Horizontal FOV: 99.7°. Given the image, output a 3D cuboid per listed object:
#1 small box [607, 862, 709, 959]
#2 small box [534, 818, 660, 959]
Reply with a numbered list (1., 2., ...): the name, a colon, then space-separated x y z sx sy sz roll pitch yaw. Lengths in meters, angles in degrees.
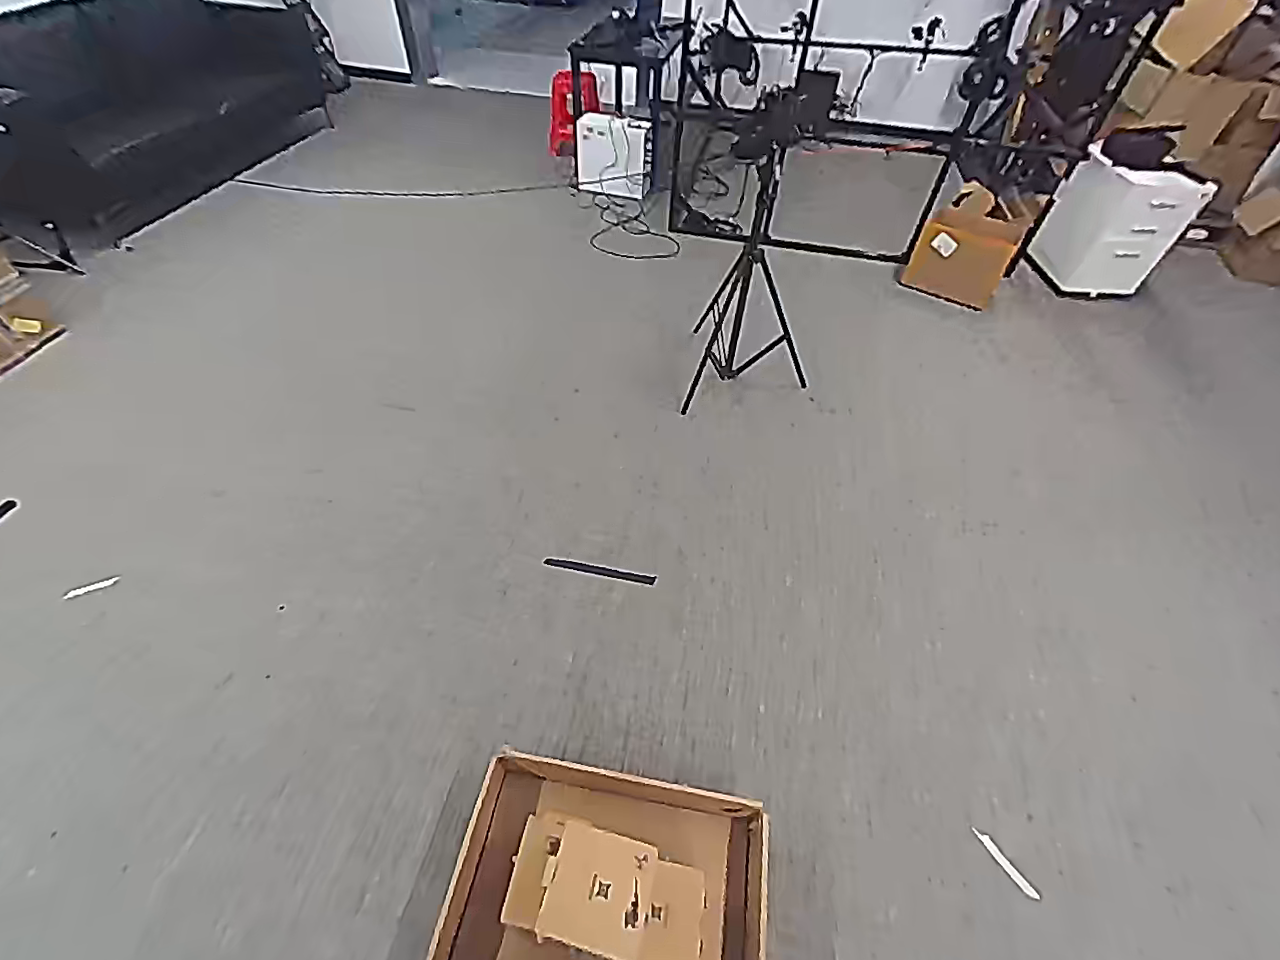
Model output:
1. small box: 0.037 0.874 1.079 0.179 0.176 0.168 7 48 7
2. small box: -0.072 0.740 0.972 0.179 0.176 0.168 13 49 8
